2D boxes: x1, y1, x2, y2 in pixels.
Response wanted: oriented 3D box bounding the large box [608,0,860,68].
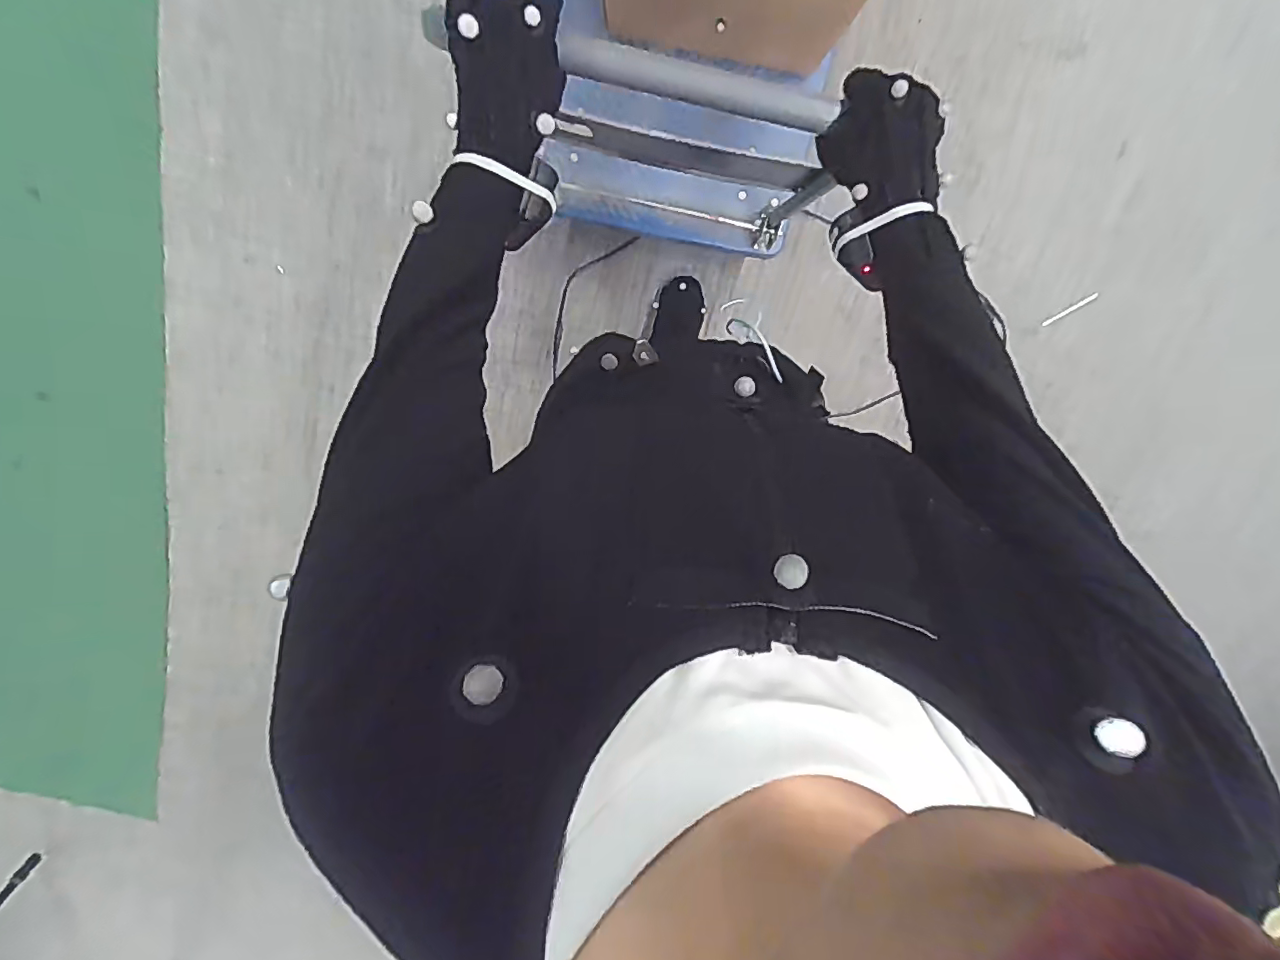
[{"bbox_3d":[0.162,-0.925,0.863,0.408,0.320,0.320,10,107,-2],"label":"large box"}]
